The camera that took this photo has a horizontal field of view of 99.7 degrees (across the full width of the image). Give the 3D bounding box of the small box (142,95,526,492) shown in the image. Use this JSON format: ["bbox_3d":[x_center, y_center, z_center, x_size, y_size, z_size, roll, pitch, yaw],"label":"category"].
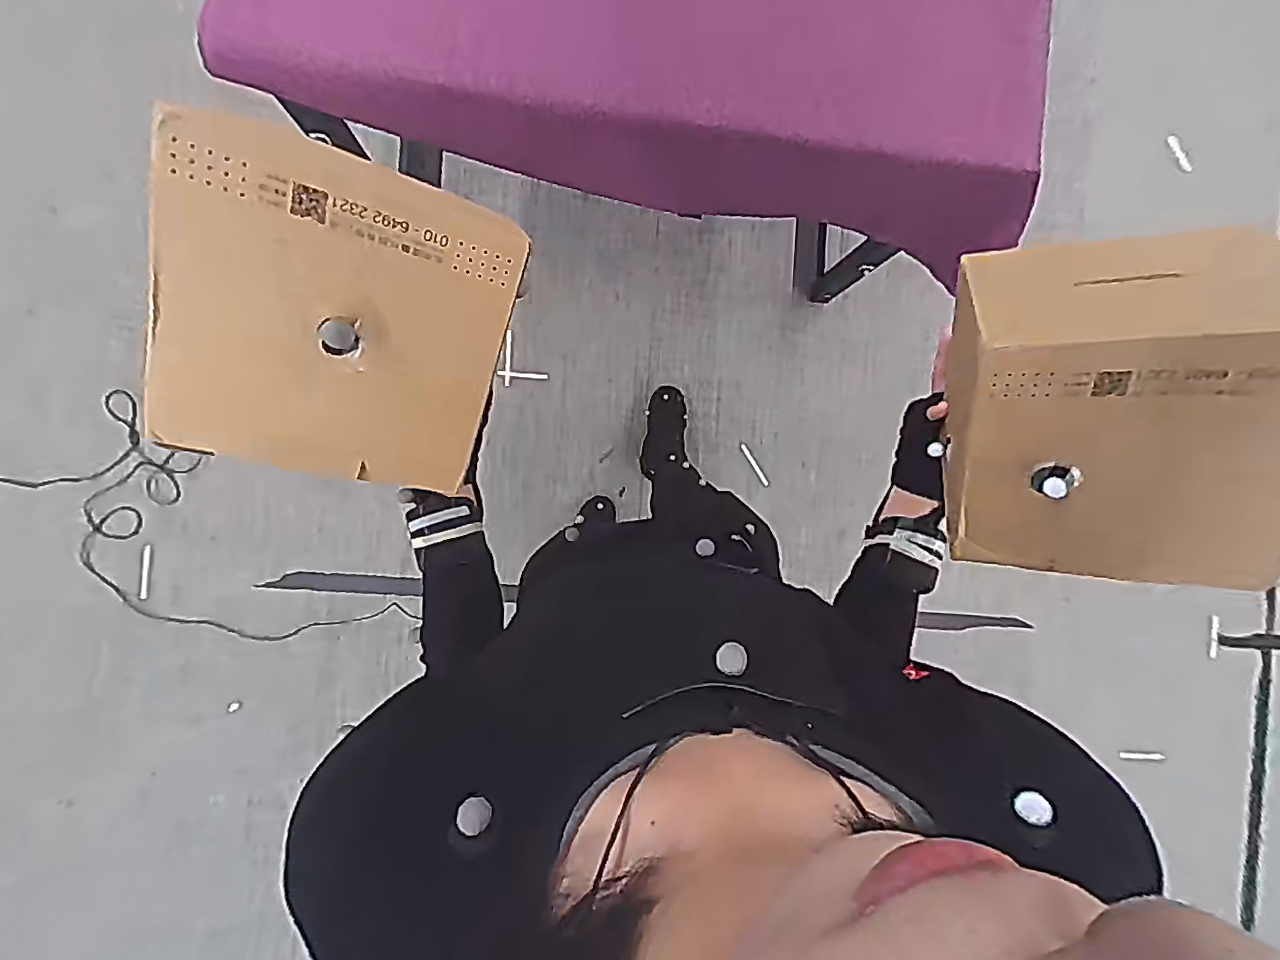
[{"bbox_3d":[-0.180,-0.116,0.347,0.168,0.179,0.176,12,113,-25],"label":"small box"}]

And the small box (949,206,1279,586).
[{"bbox_3d":[0.307,-0.059,0.352,0.168,0.179,0.176,3,128,24],"label":"small box"}]
